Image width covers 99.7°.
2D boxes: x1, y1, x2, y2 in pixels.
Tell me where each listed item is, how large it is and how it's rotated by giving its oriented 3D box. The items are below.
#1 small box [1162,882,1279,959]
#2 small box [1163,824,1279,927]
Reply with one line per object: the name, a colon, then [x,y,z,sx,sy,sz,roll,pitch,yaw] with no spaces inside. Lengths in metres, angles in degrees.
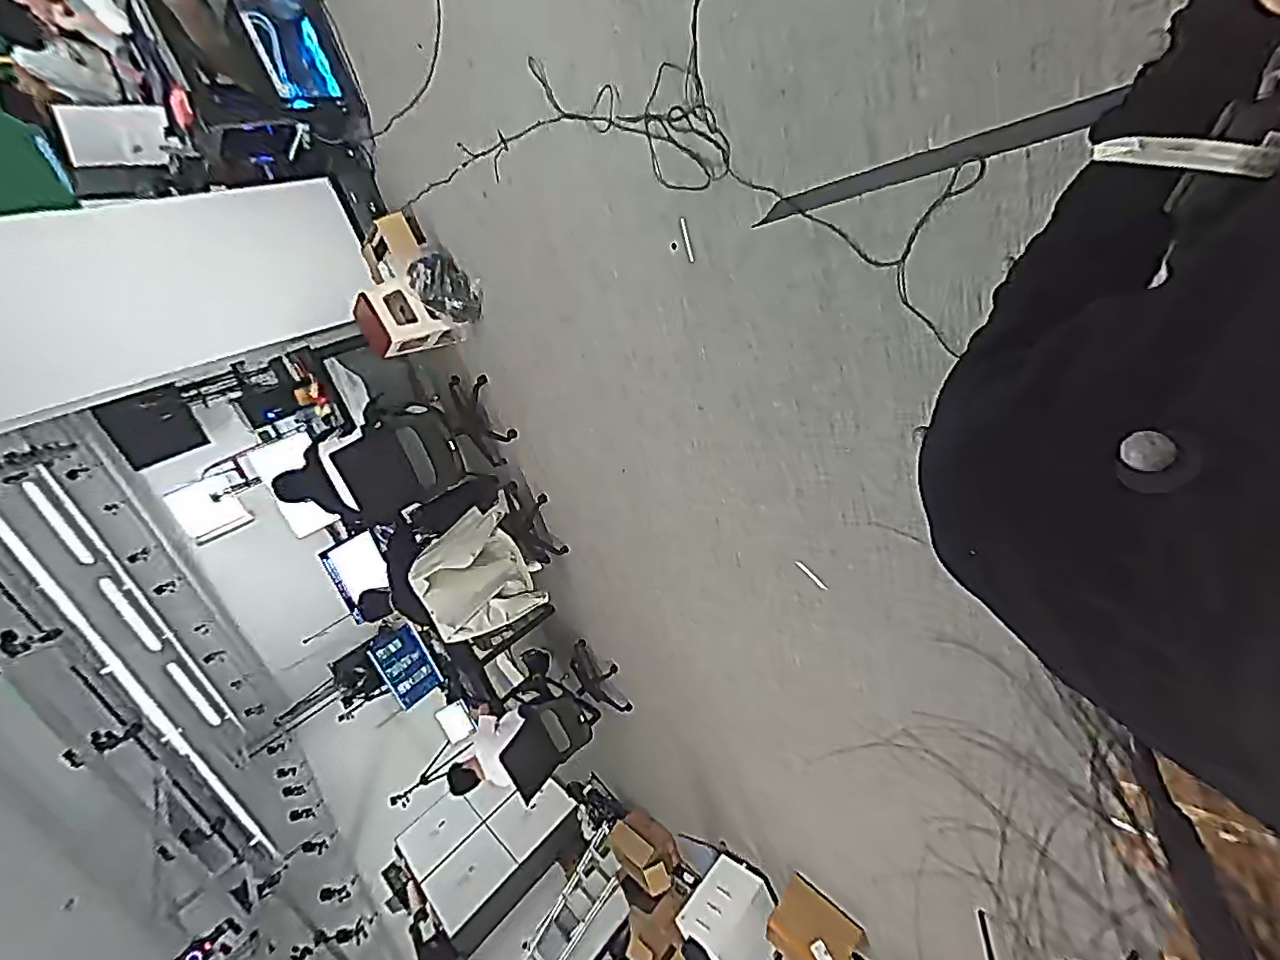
small box: [1.139,0.953,1.054,0.168,0.176,0.179,7,121,48]
small box: [1.251,0.887,1.152,0.179,0.176,0.168,7,121,49]
